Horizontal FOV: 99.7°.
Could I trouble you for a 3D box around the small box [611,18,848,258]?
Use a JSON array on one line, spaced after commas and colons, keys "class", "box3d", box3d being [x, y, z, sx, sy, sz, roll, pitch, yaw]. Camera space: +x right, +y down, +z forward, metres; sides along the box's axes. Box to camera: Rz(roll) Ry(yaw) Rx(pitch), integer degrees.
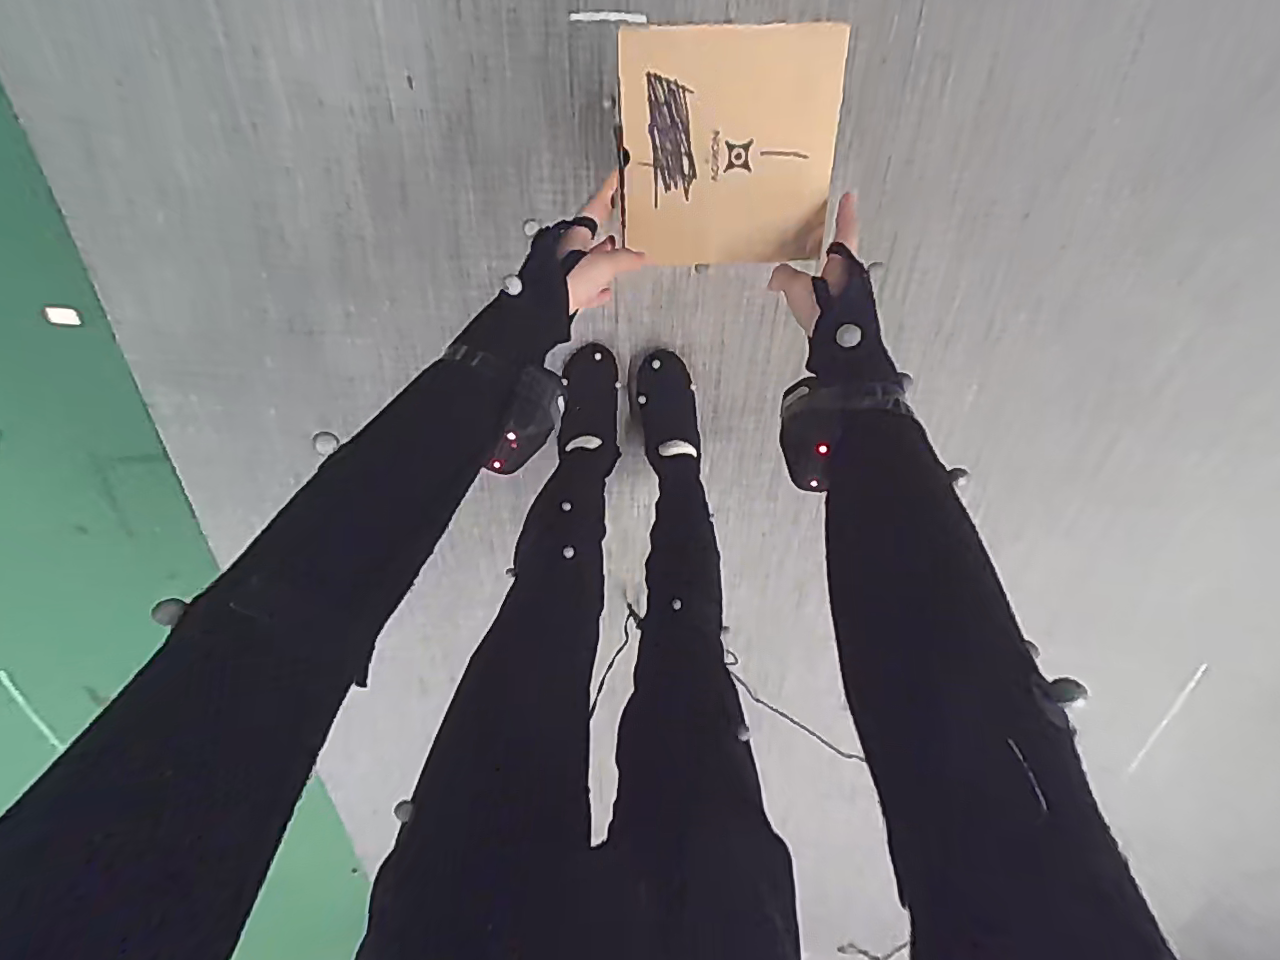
[{"class": "small box", "box3d": [0.065, -0.302, 0.502, 0.179, 0.176, 0.168, -2, 119, -2]}]
